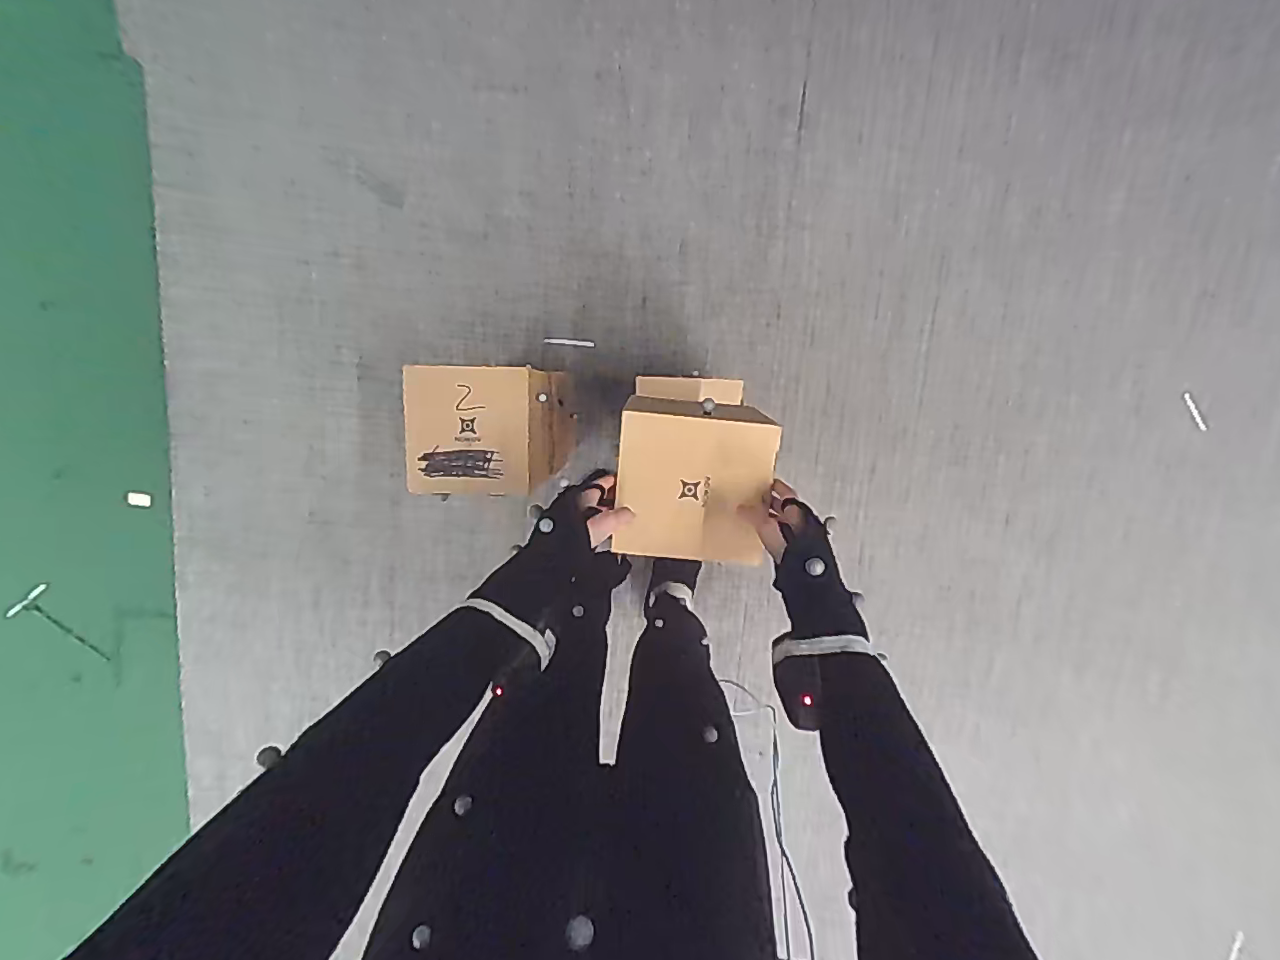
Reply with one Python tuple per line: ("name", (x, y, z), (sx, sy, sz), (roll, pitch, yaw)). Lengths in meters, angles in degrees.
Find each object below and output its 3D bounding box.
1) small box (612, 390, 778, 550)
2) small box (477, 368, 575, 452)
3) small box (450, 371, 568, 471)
("small box", (0.062, -0.023, 0.696), (0.179, 0.176, 0.168), (5, 104, -1))
("small box", (-0.230, -0.149, 1.136), (0.179, 0.176, 0.168), (0, 99, 0))
("small box", (-0.226, -0.111, 0.977), (0.179, 0.176, 0.168), (1, 100, 1))
